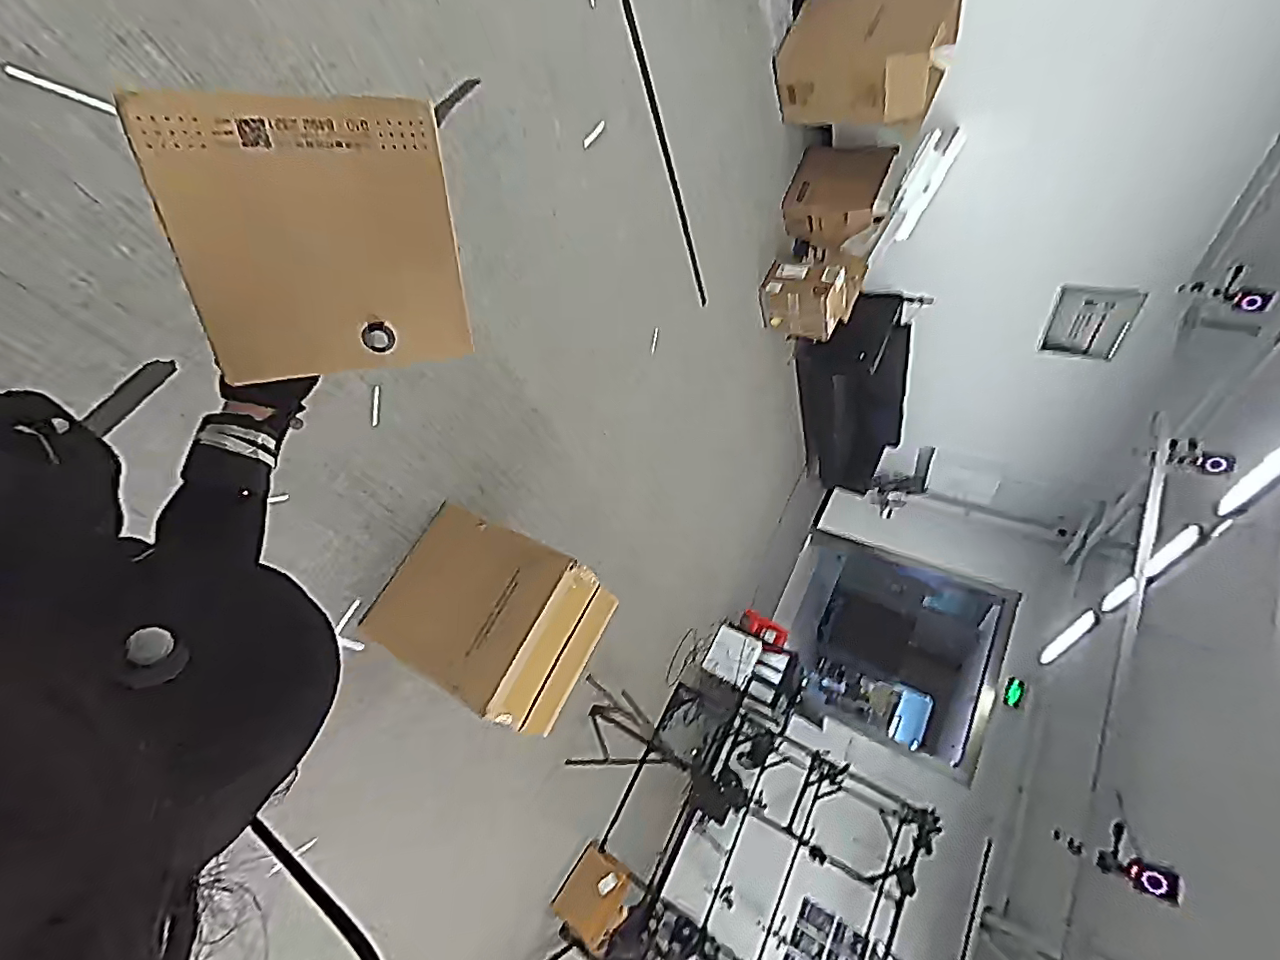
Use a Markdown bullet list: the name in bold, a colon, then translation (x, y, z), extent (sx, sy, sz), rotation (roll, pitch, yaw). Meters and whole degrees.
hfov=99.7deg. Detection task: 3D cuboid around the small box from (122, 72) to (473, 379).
- **small box**: translation (-0.237, -0.192, 0.416), extent (0.168, 0.179, 0.176), rotation (-13, 122, -21)
